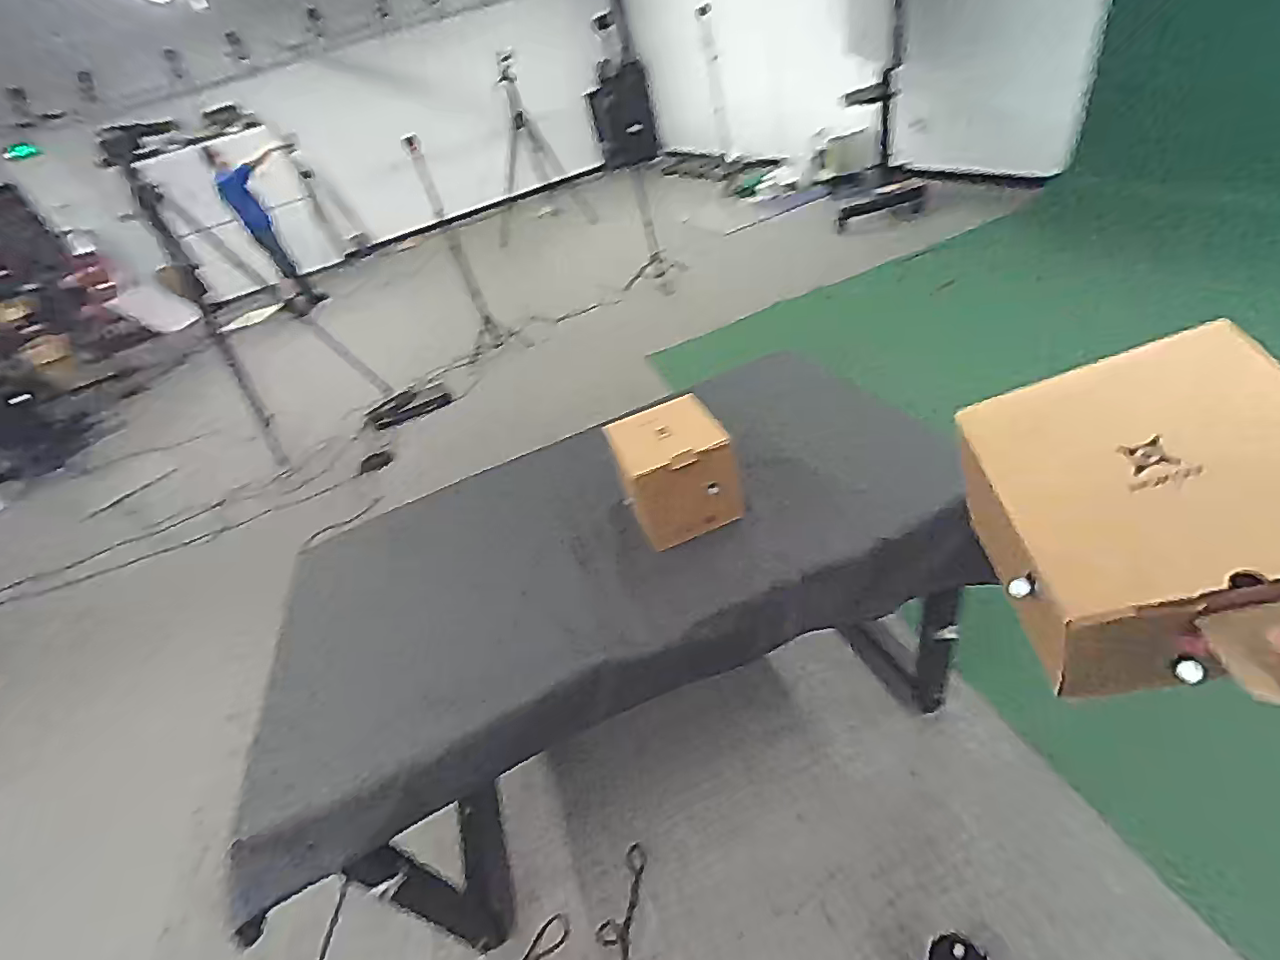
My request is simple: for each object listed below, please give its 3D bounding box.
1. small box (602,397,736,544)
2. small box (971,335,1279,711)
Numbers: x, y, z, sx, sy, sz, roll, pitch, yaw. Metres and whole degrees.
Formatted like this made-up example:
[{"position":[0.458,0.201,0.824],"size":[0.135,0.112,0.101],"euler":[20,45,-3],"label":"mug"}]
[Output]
[{"position":[0.051,-0.012,0.930],"size":[0.168,0.176,0.179],"euler":[-21,36,-7],"label":"small box"},{"position":[0.356,0.040,0.378],"size":[0.168,0.176,0.179],"euler":[-20,47,22],"label":"small box"}]
